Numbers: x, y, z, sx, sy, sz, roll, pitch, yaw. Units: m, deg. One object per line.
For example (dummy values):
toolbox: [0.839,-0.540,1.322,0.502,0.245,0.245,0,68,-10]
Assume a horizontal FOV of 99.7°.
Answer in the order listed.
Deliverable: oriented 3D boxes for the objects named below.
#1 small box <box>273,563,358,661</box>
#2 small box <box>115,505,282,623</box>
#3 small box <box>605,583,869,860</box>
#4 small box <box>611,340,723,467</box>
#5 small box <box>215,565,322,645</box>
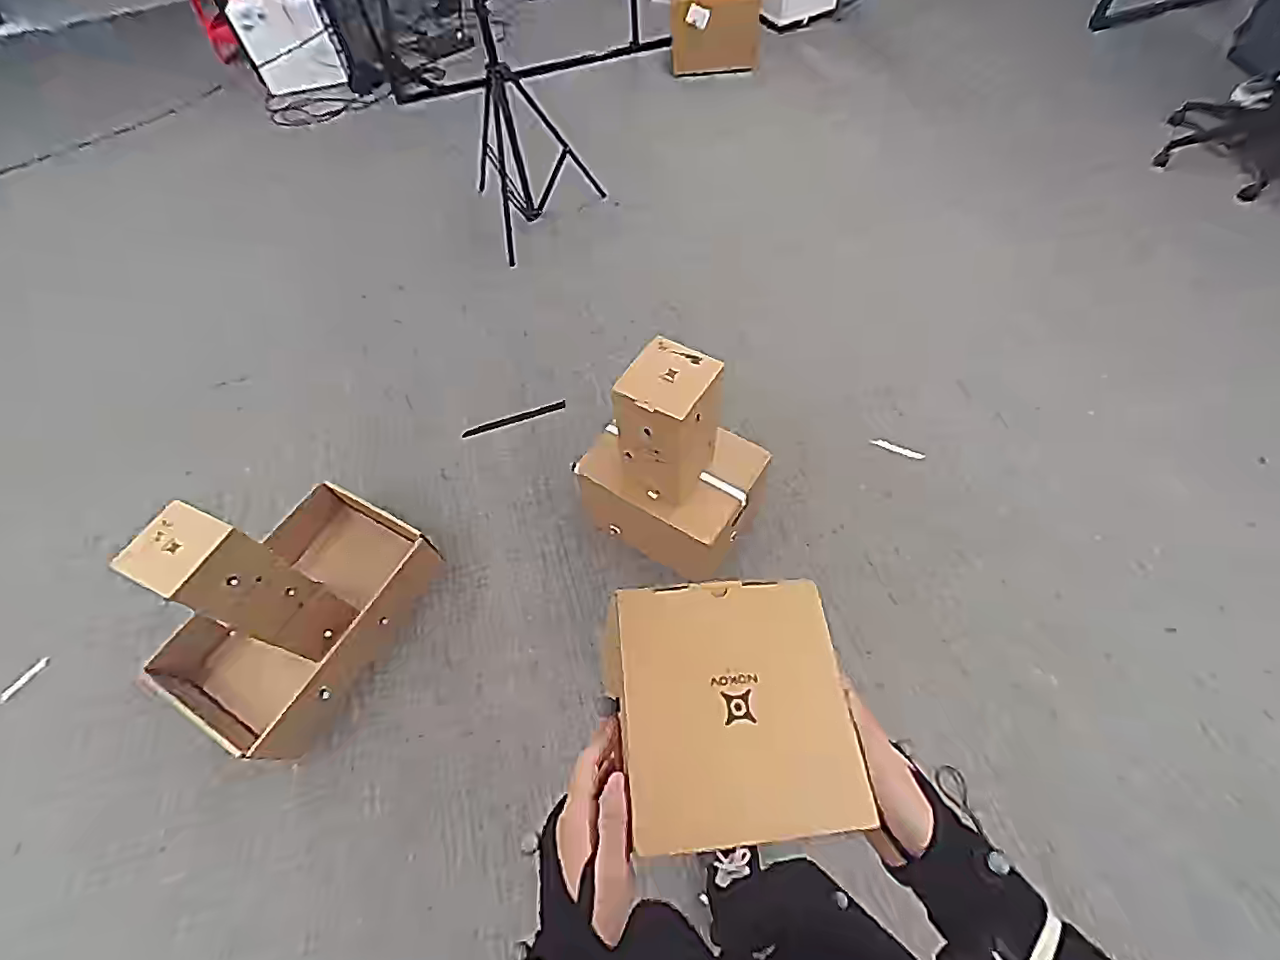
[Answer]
small box: [-0.892,0.353,1.420,0.179,0.176,0.168,24,64,17]
small box: [-0.915,0.183,1.141,0.179,0.176,0.168,20,61,15]
small box: [0.059,0.203,0.462,0.168,0.176,0.179,-2,59,-8]
small box: [0.062,-0.157,1.150,0.168,0.176,0.179,28,66,19]
small box: [-0.908,0.273,1.280,0.179,0.176,0.168,19,61,16]
